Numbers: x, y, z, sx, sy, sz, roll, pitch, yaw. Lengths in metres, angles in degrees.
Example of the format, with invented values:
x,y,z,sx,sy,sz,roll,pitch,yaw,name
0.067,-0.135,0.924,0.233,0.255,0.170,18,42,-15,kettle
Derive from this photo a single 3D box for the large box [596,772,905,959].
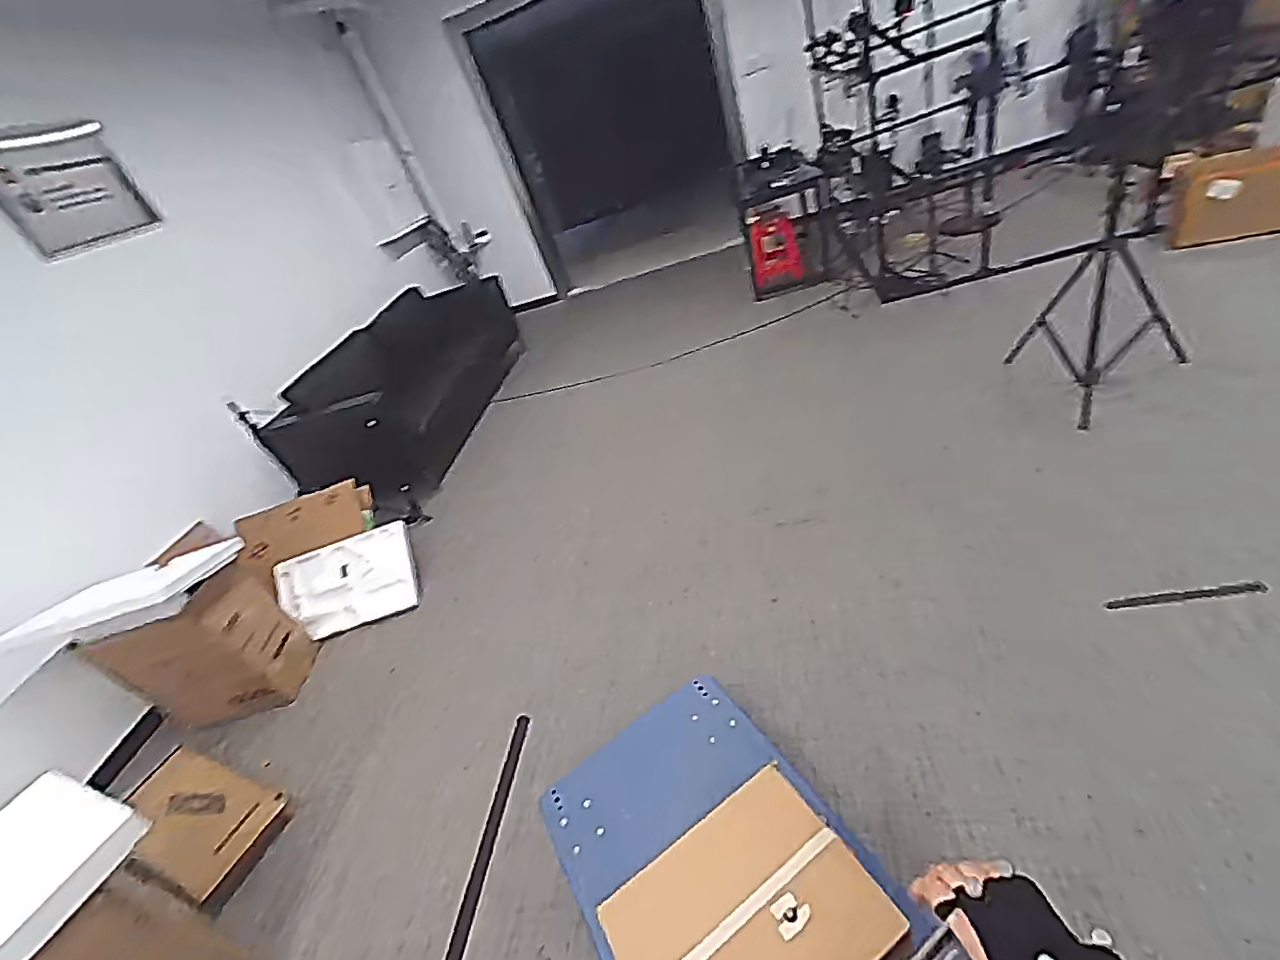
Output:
x,y,z,sx,sy,sz,roll,pitch,yaw,name
0.199,0.829,0.941,0.408,0.320,0.320,-31,35,-16,large box
